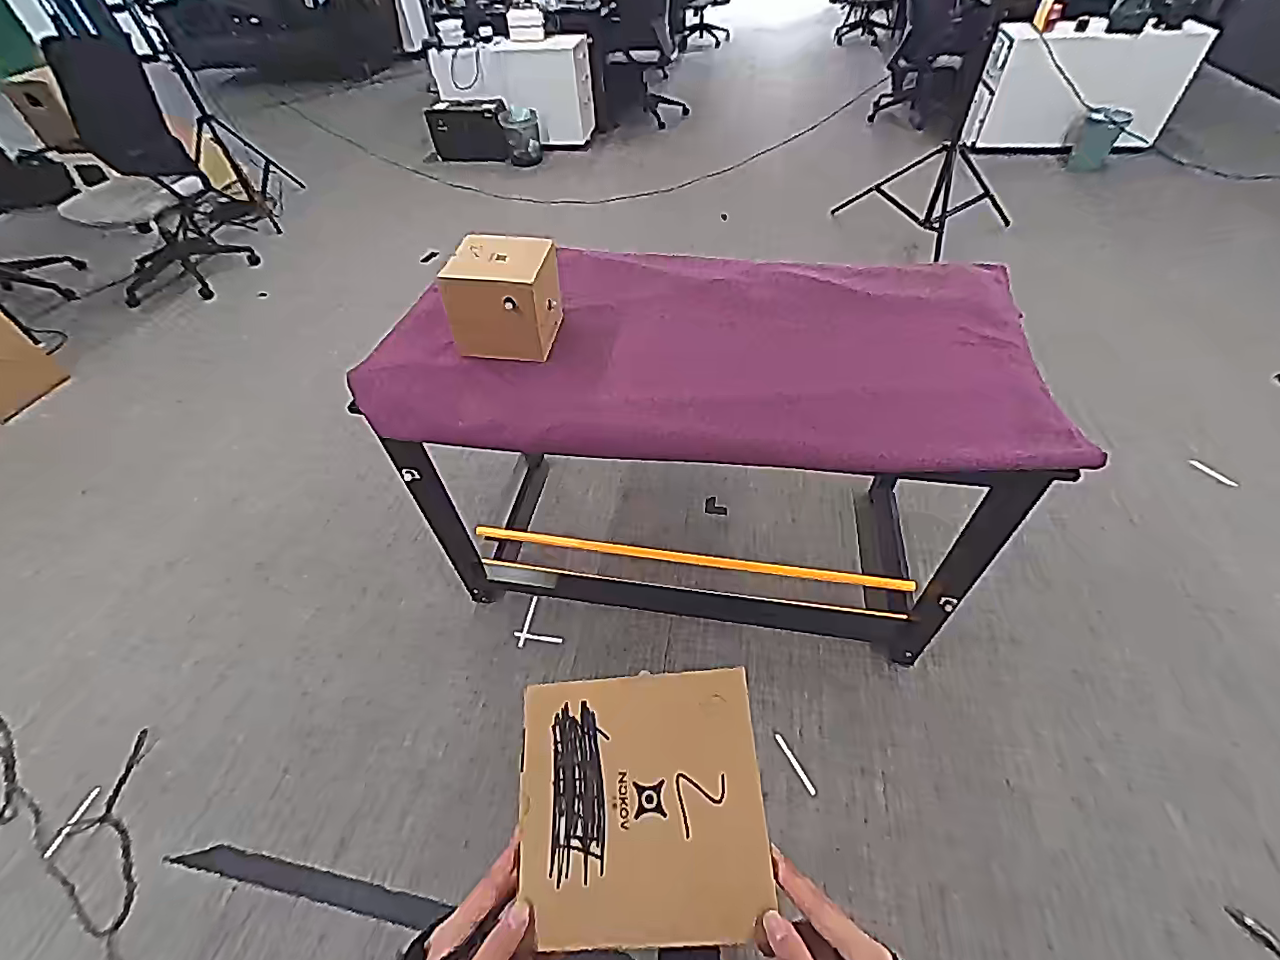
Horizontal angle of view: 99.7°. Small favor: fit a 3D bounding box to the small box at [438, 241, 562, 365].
[{"bbox_3d":[-0.258,-0.341,1.051,0.179,0.176,0.168,5,48,5],"label":"small box"}]
